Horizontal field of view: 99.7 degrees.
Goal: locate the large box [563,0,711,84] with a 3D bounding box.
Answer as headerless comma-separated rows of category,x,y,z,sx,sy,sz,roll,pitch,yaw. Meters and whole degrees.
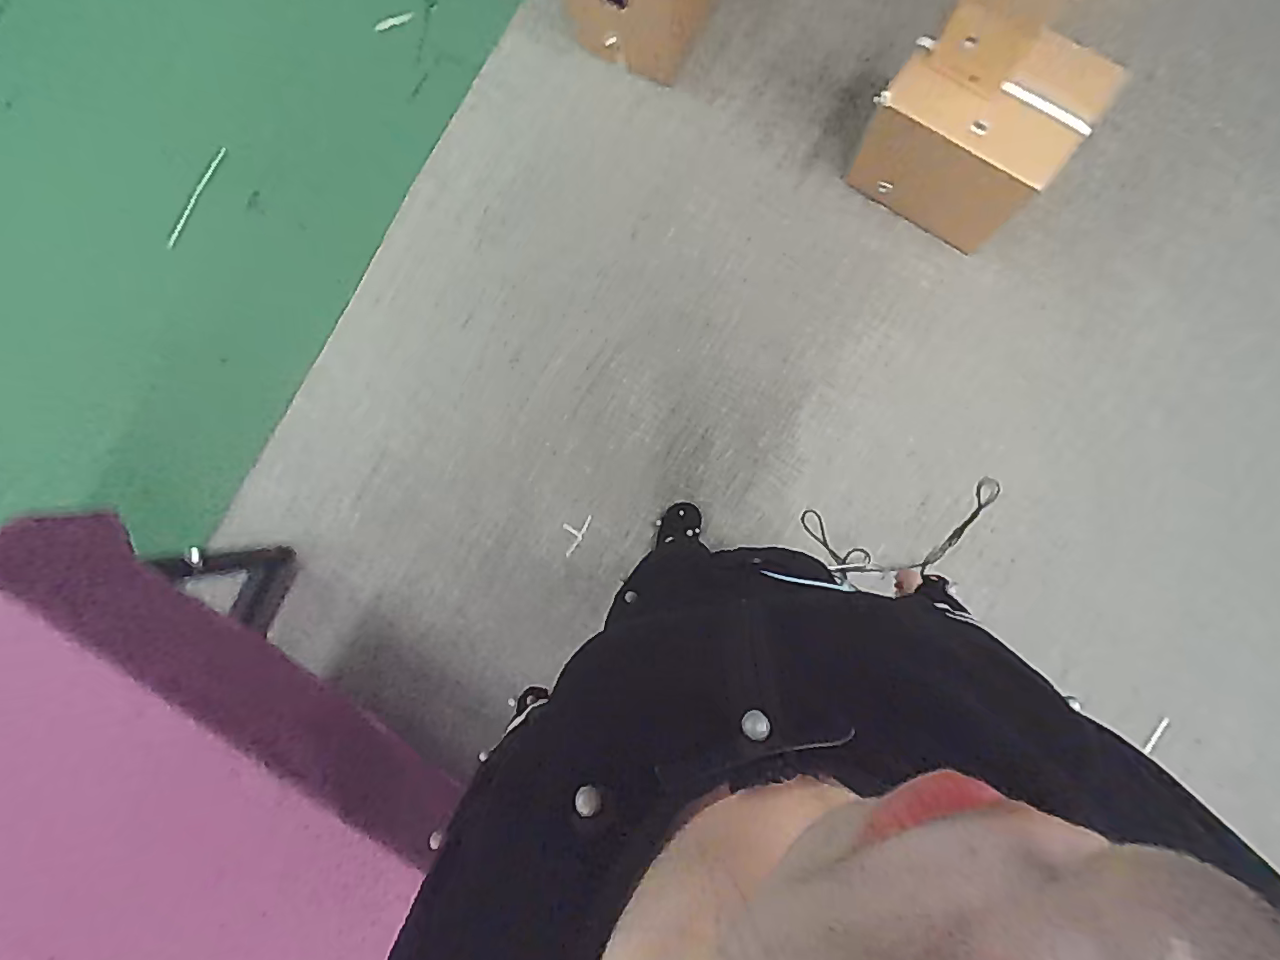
large box,0.015,-1.395,1.444,0.320,0.320,0.408,29,90,7
